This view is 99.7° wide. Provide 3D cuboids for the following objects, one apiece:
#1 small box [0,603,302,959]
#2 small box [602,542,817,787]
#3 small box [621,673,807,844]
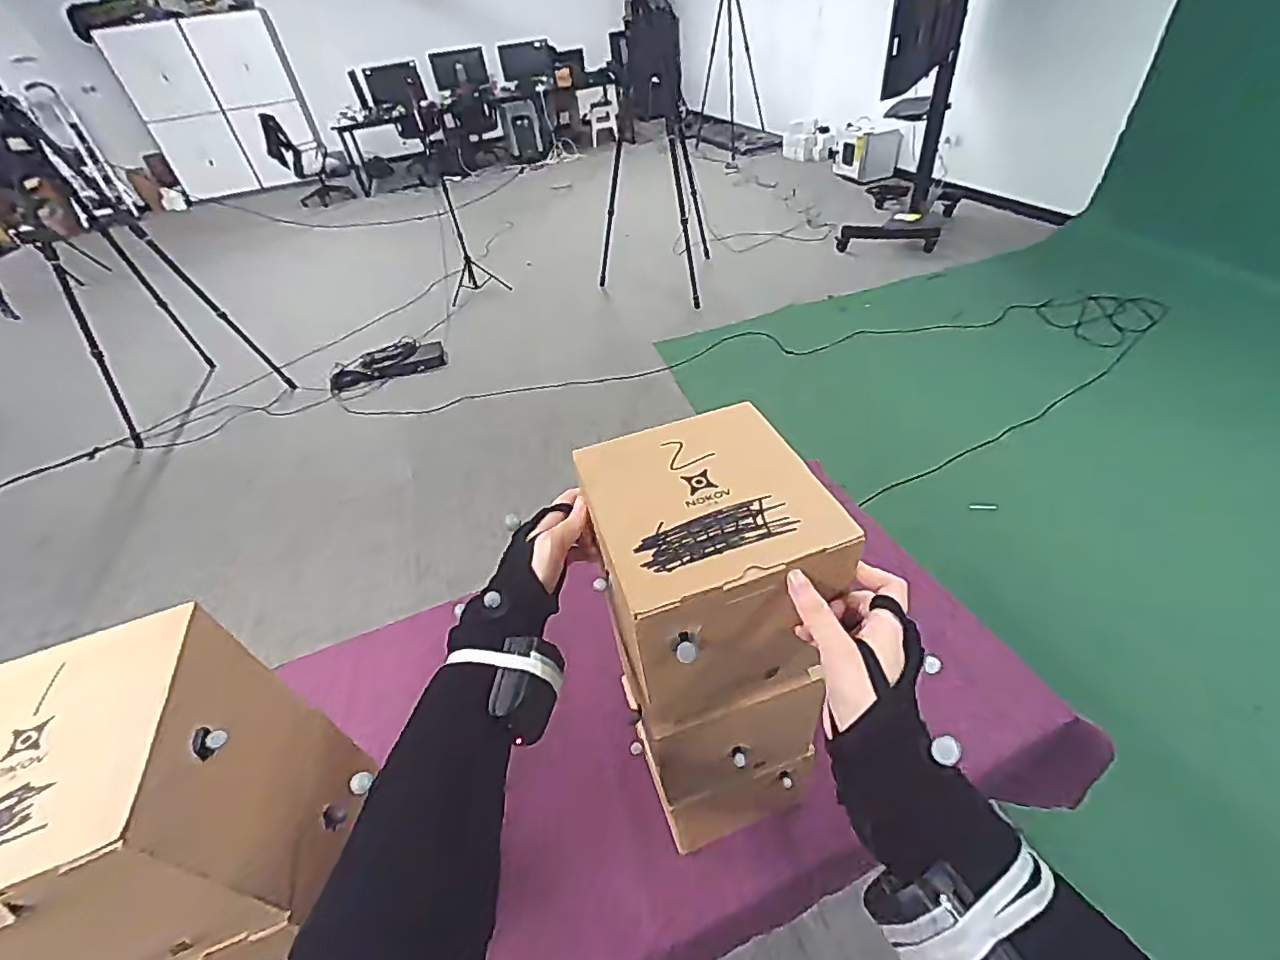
[{"bbox_3d":[-0.375,0.229,0.390,0.168,0.176,0.179,-19,42,-12],"label":"small box"},{"bbox_3d":[0.069,0.202,0.584,0.168,0.176,0.179,-16,42,-8],"label":"small box"},{"bbox_3d":[0.091,0.327,0.690,0.179,0.176,0.168,-18,42,-10],"label":"small box"}]
